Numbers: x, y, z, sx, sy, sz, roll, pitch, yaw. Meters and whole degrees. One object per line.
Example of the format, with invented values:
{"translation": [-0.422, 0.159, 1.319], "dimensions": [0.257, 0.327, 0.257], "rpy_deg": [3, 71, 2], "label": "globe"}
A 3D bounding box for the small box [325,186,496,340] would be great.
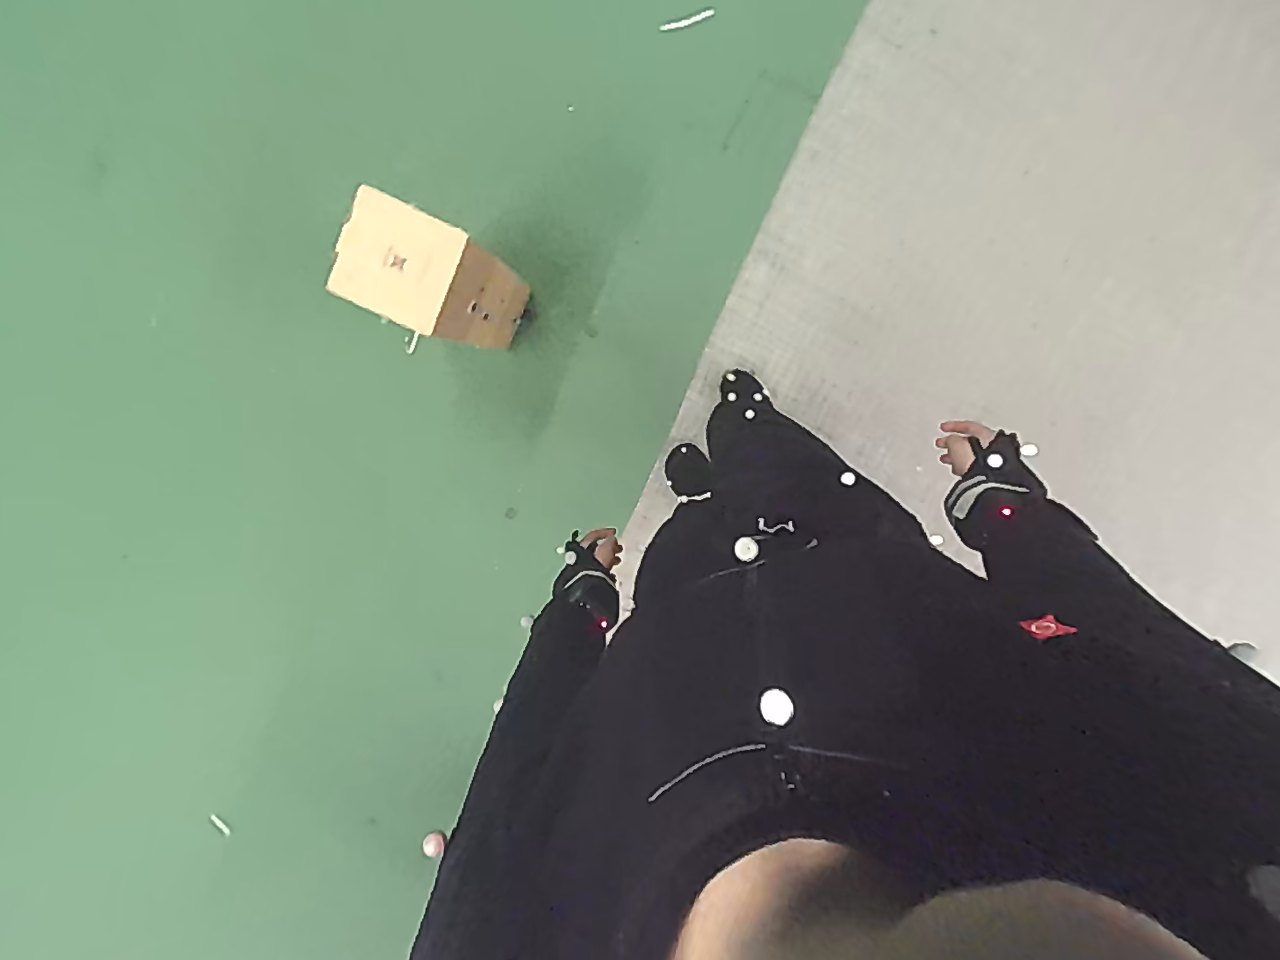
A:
{"translation": [-0.363, -0.338, 0.883], "dimensions": [0.179, 0.176, 0.168], "rpy_deg": [24, 100, -3], "label": "small box"}

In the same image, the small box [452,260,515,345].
{"translation": [-0.363, -0.371, 1.043], "dimensions": [0.179, 0.176, 0.168], "rpy_deg": [26, 99, -3], "label": "small box"}
